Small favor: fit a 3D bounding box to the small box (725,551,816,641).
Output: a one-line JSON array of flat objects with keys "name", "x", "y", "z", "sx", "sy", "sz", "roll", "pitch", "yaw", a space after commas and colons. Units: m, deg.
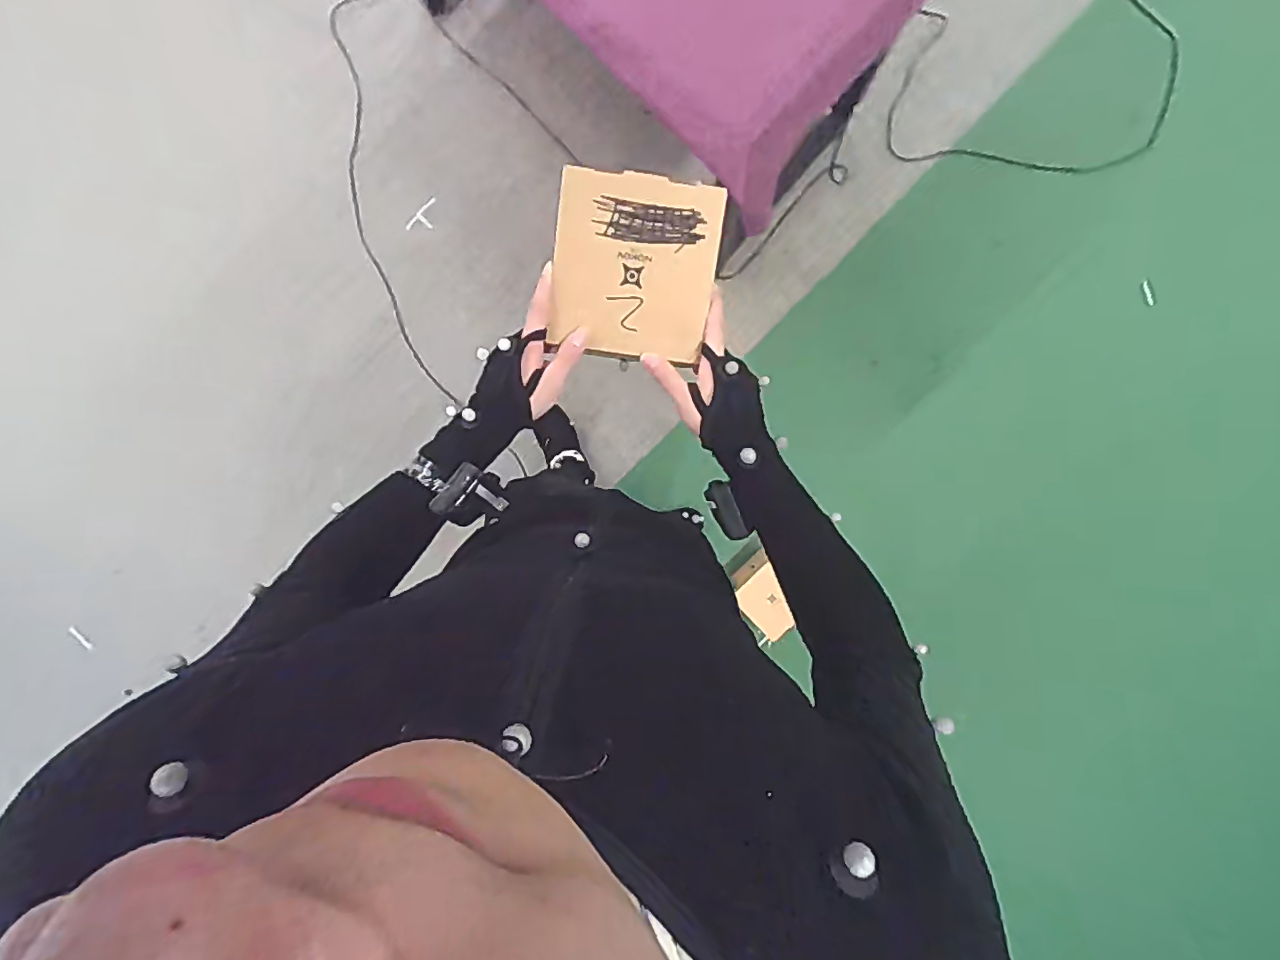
[{"name": "small box", "x": 0.363, "y": 0.321, "z": 1.548, "sx": 0.168, "sy": 0.176, "sz": 0.179, "roll": -45, "pitch": 91, "yaw": 3}]
